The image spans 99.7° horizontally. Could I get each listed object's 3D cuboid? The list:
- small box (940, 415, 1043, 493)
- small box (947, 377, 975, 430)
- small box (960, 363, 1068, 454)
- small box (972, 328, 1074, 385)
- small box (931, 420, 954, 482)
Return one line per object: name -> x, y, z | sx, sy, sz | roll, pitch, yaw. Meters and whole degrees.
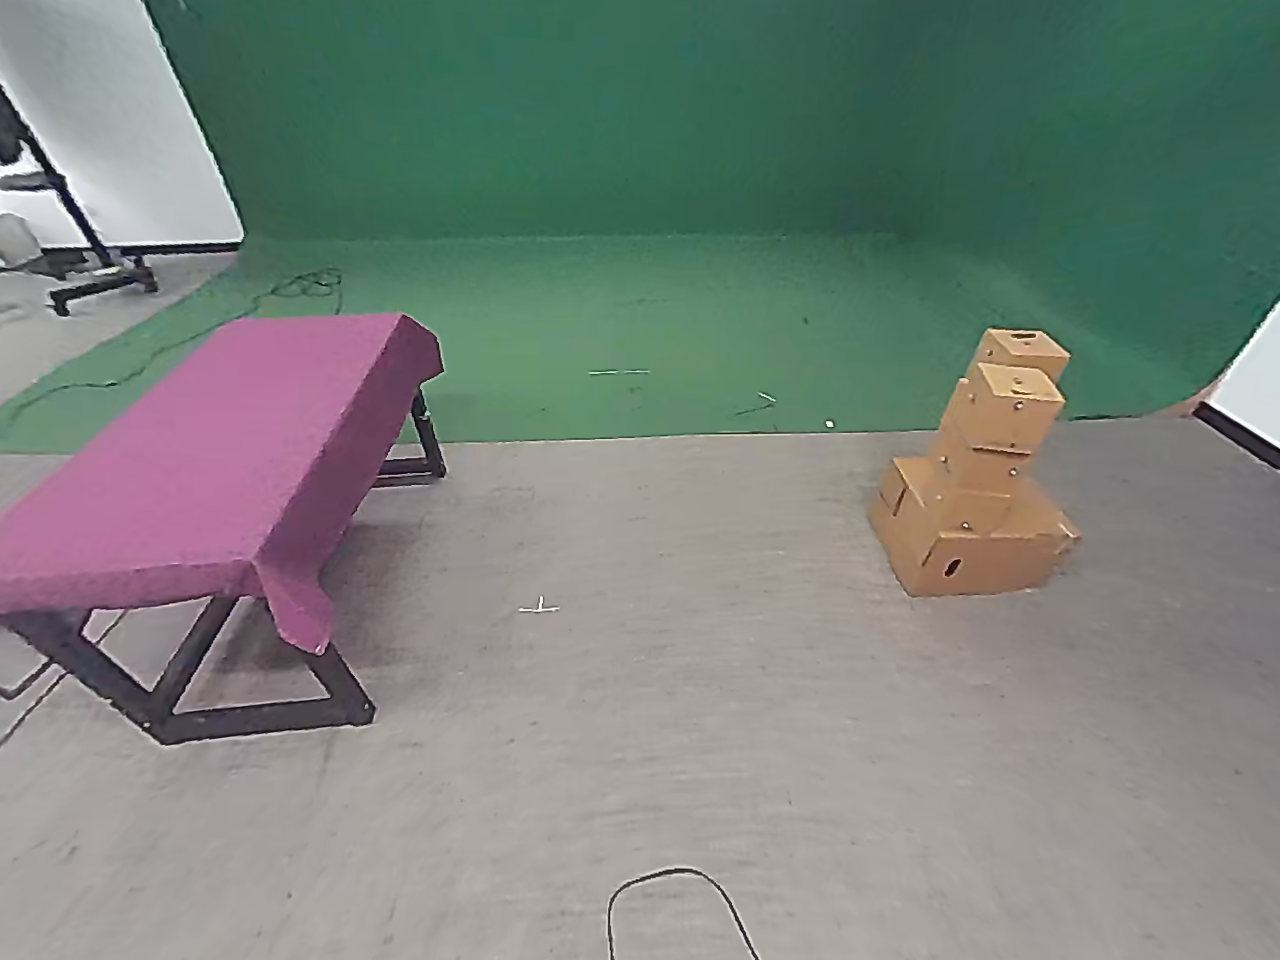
small box -> 1.013, -0.077, 1.575 | 0.179, 0.176, 0.168 | 4, 40, 5
small box -> 1.139, -0.218, 1.747 | 0.179, 0.176, 0.168 | -1, 40, -1
small box -> 0.995, -0.195, 1.460 | 0.168, 0.176, 0.179 | 8, 40, 9
small box -> 1.150, -0.345, 1.641 | 0.168, 0.176, 0.179 | 3, 40, 3
small box -> 1.137, -0.091, 1.849 | 0.168, 0.176, 0.179 | 0, 40, -3
